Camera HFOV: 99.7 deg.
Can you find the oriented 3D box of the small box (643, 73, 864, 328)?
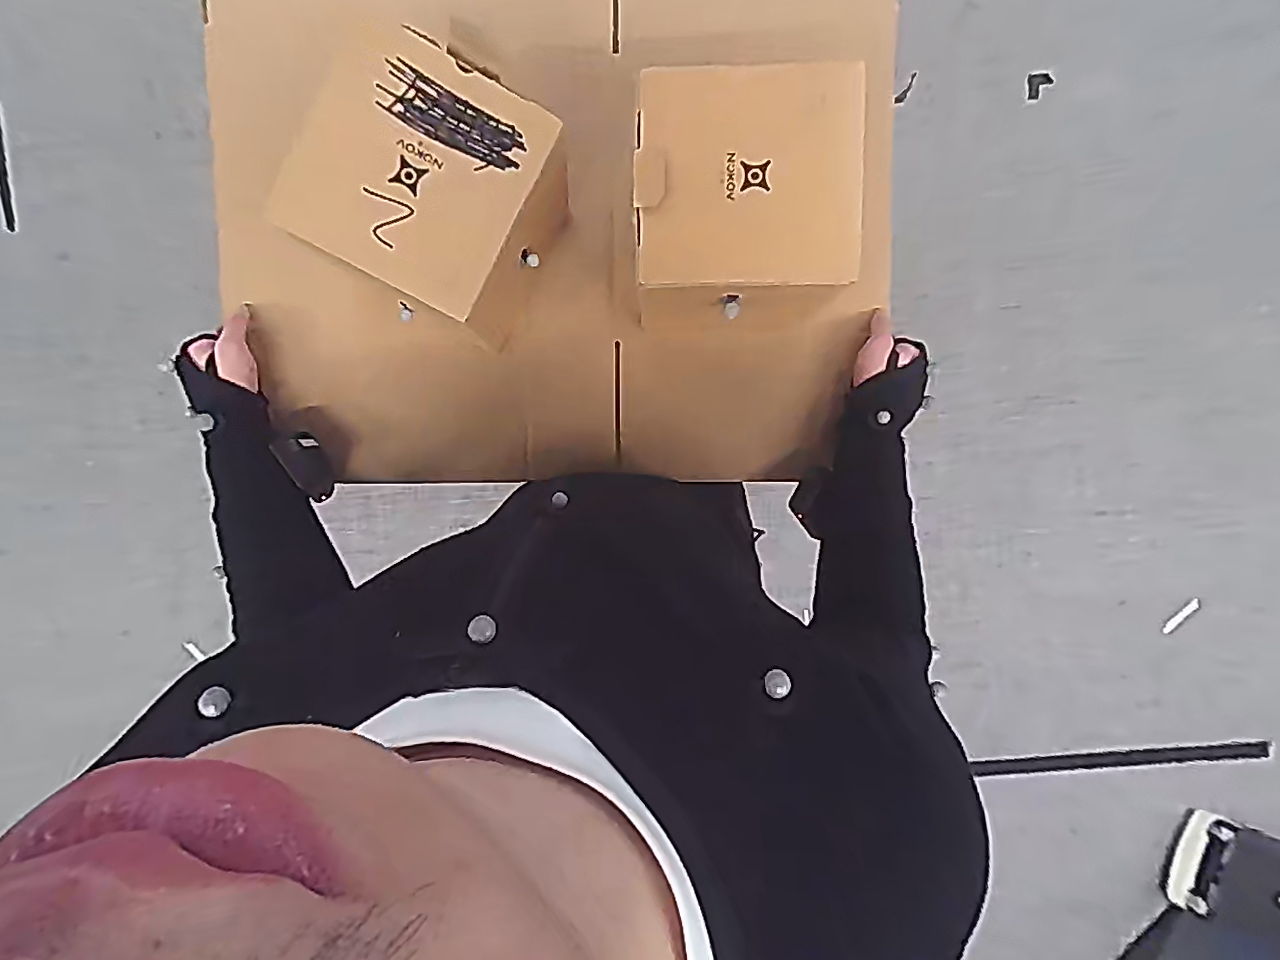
[{"bbox_3d":[0.093,-0.246,0.514,0.179,0.176,0.168,0,94,3],"label":"small box"}]
